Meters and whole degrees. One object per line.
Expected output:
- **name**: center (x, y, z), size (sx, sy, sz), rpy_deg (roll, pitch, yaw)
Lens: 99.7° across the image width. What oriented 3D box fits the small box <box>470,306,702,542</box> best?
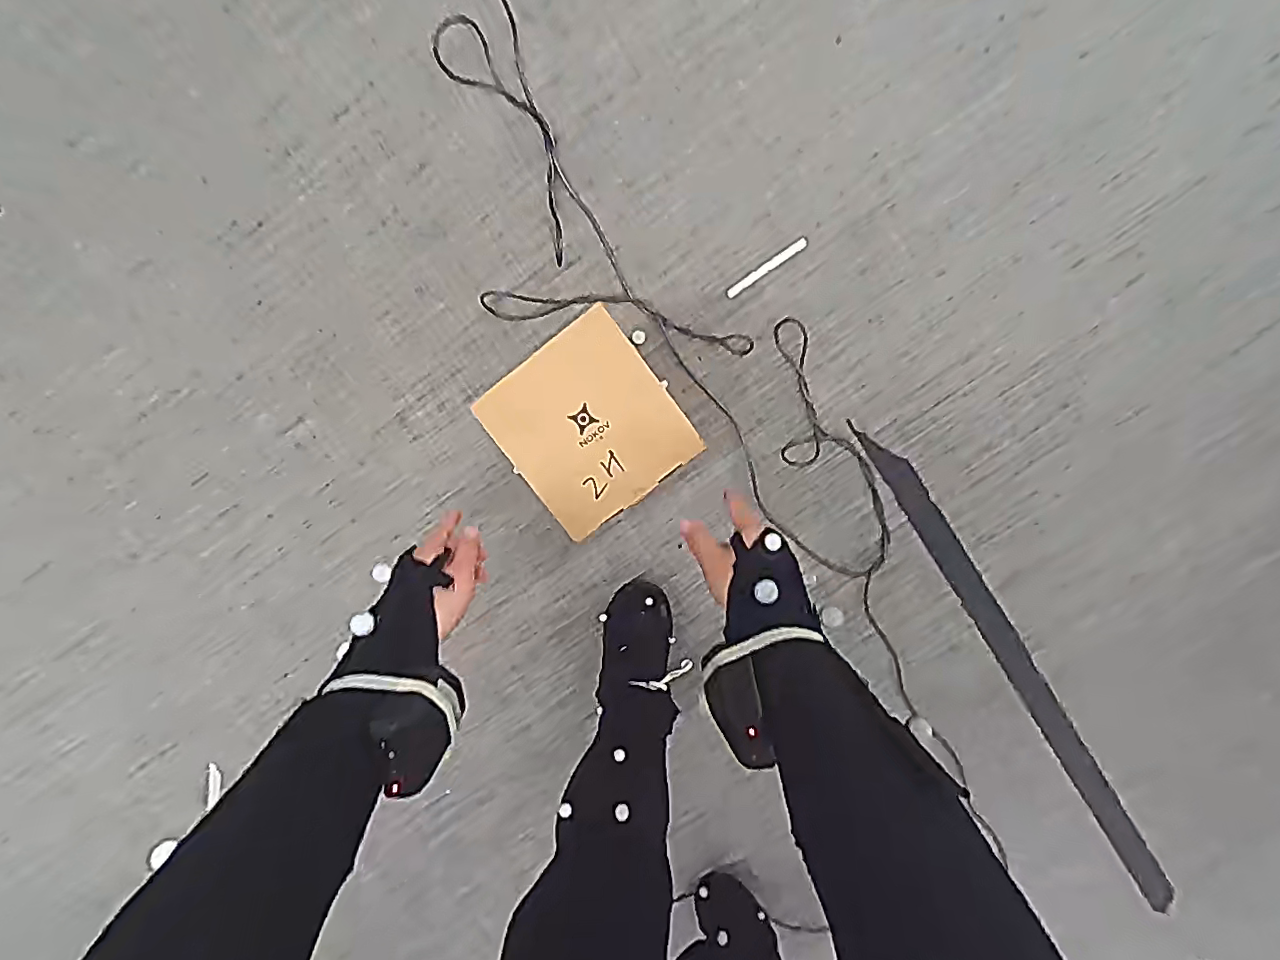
- **small box**: center (-0.052, -0.061, 0.606), size (0.168, 0.176, 0.179), rpy_deg (-36, 96, 6)
